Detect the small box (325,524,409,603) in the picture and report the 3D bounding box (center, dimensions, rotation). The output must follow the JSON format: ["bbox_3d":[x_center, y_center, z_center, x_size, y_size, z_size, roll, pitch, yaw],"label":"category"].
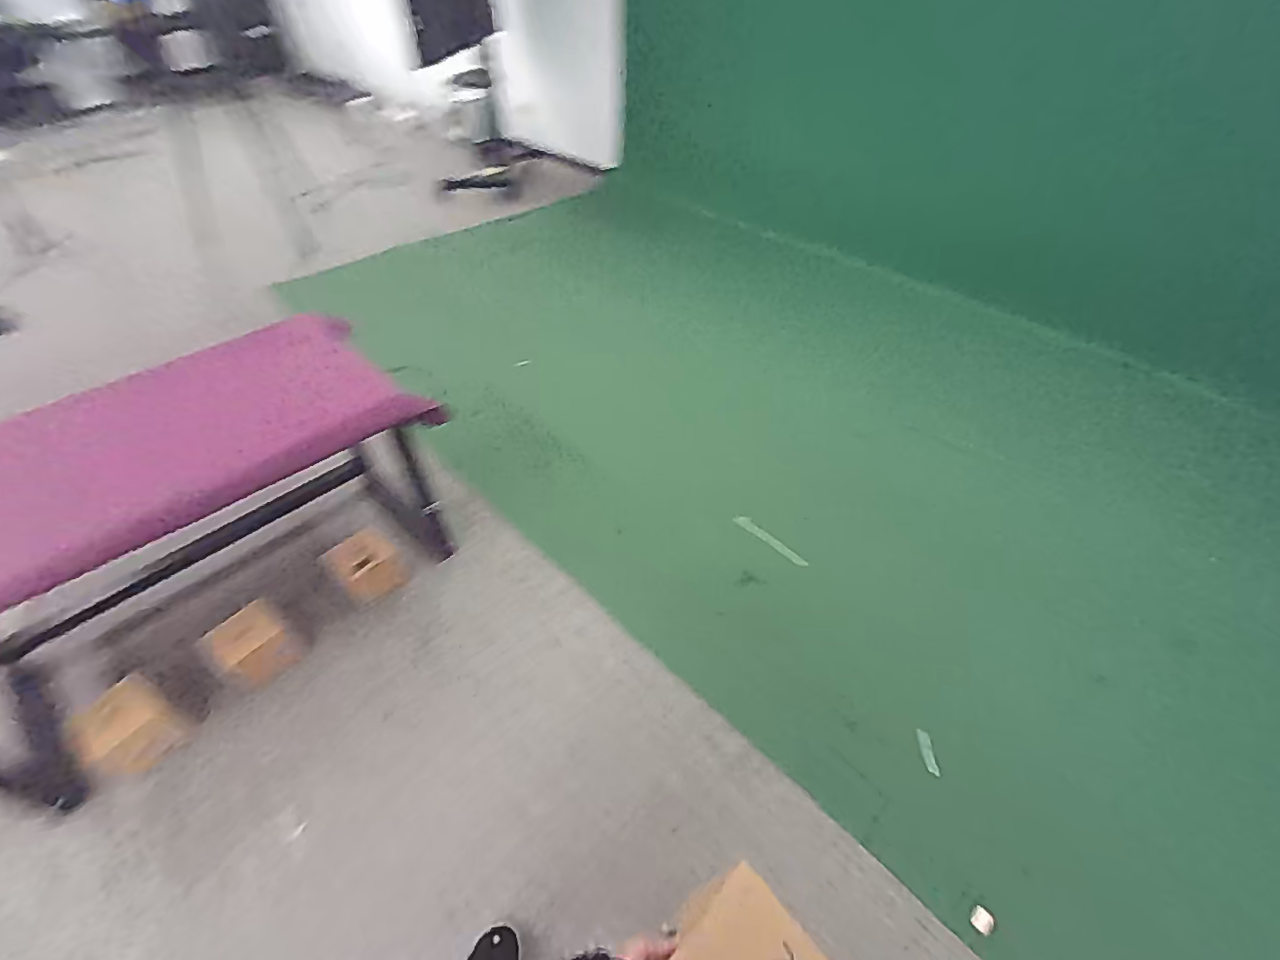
[{"bbox_3d":[-0.914,0.289,1.825,0.179,0.176,0.168,32,52,27],"label":"small box"}]

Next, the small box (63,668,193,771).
[{"bbox_3d":[-1.365,0.650,1.454,0.179,0.176,0.168,28,51,23],"label":"small box"}]

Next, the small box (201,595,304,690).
[{"bbox_3d":[-1.149,0.488,1.622,0.168,0.176,0.179,29,52,25],"label":"small box"}]
